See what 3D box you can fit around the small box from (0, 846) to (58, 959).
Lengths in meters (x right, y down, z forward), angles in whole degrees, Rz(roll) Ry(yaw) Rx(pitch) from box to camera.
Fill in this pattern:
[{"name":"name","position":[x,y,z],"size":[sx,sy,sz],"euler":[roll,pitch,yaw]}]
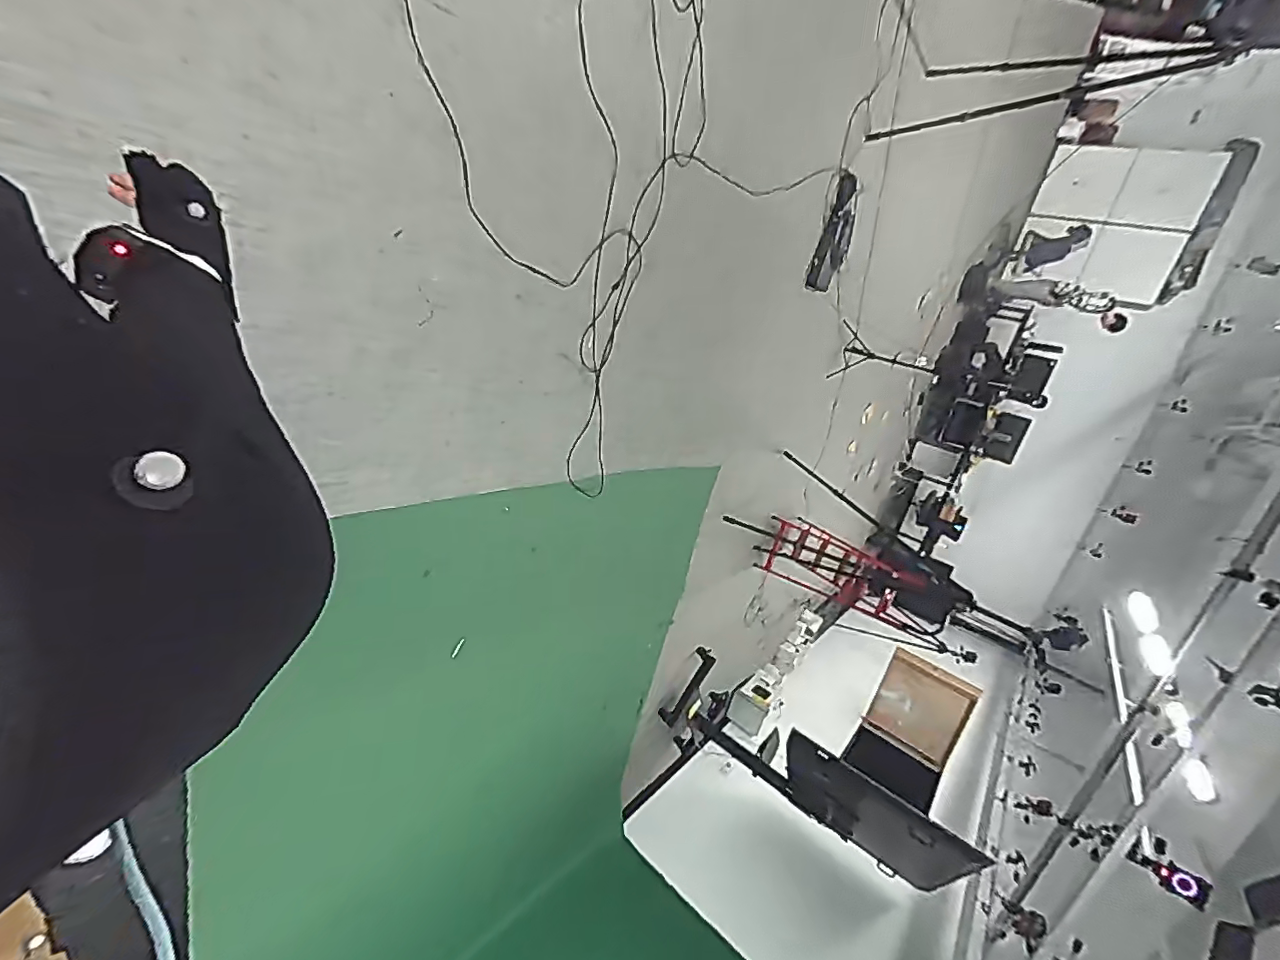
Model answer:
[{"name":"small box","position":[-0.769,0.554,0.586],"size":[0.168,0.176,0.179],"euler":[-20,126,-46]}]
